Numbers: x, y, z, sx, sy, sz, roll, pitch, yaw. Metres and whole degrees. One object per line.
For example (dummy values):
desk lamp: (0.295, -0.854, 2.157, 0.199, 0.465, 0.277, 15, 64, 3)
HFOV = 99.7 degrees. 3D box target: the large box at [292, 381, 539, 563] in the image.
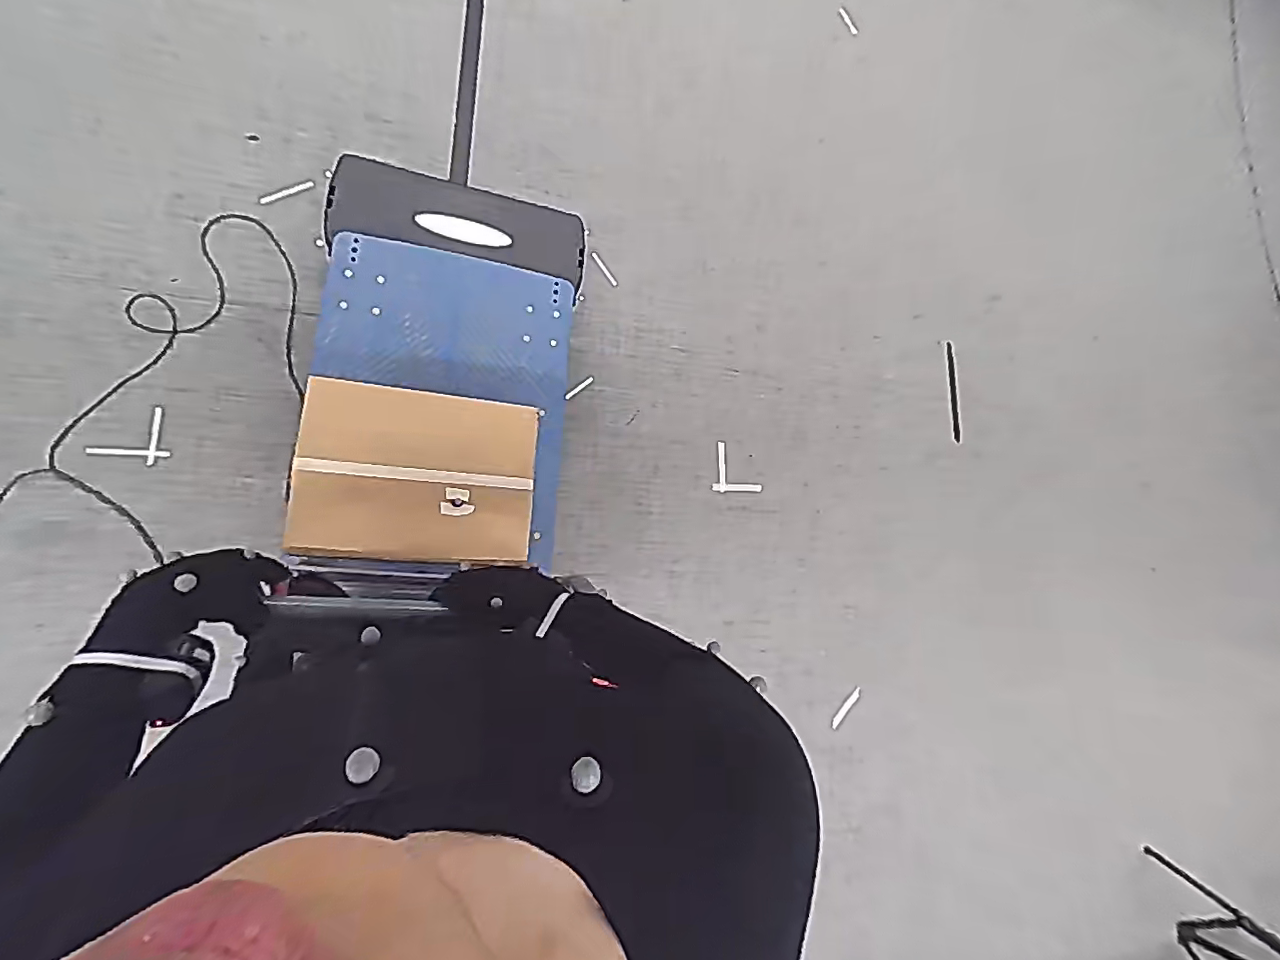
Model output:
large box: (-0.442, 0.012, 1.123, 0.408, 0.320, 0.320, 5, 81, -19)
